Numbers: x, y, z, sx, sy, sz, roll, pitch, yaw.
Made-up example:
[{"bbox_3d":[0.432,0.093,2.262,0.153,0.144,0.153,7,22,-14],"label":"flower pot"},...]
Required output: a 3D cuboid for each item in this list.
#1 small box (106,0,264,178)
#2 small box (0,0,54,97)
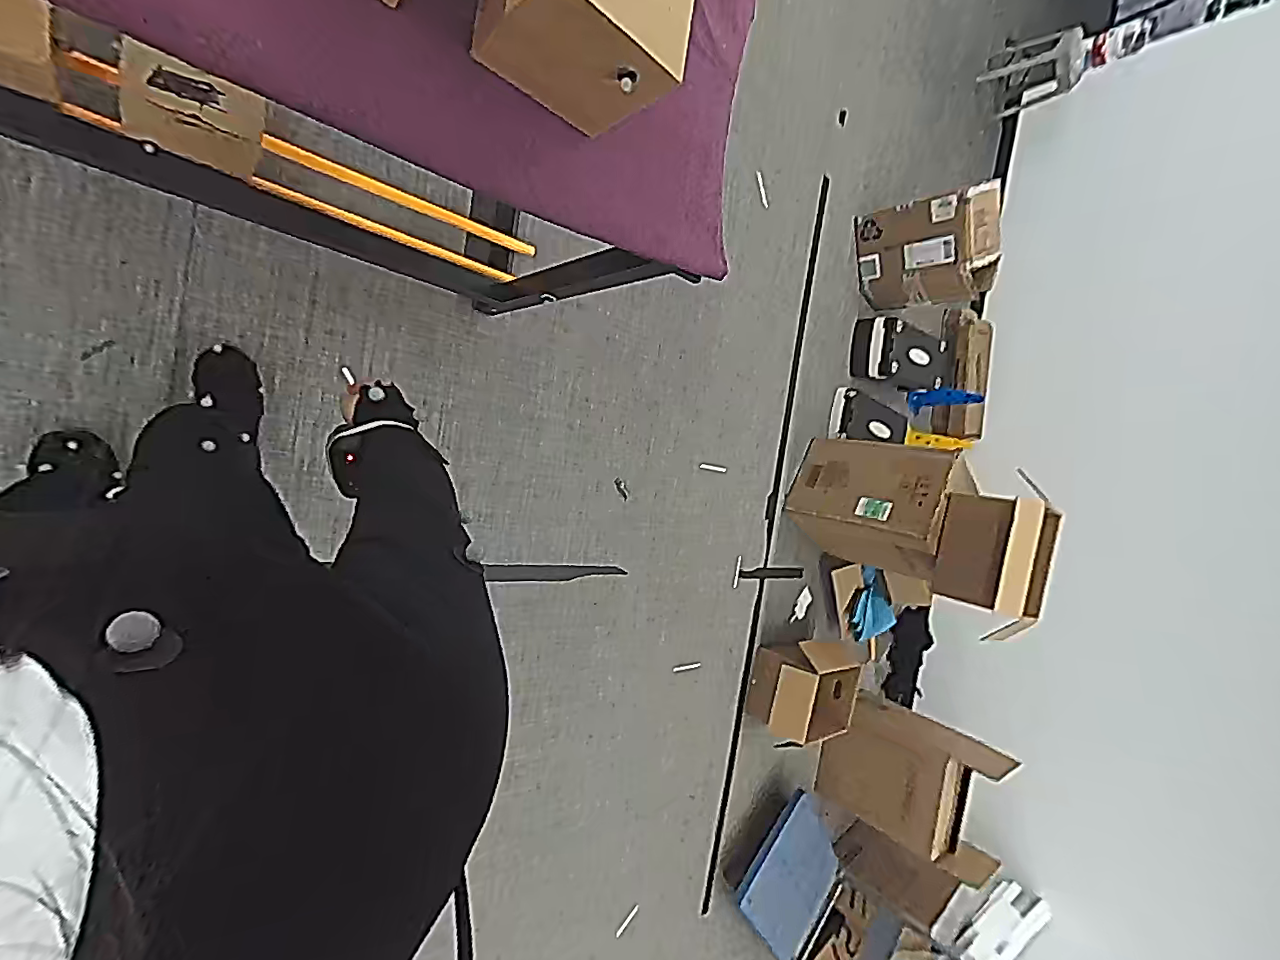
[{"bbox_3d":[-0.706,-0.613,0.844,0.168,0.176,0.179,6,87,-43],"label":"small box"},{"bbox_3d":[-0.880,-0.628,0.685,0.179,0.176,0.168,2,97,-43],"label":"small box"}]
